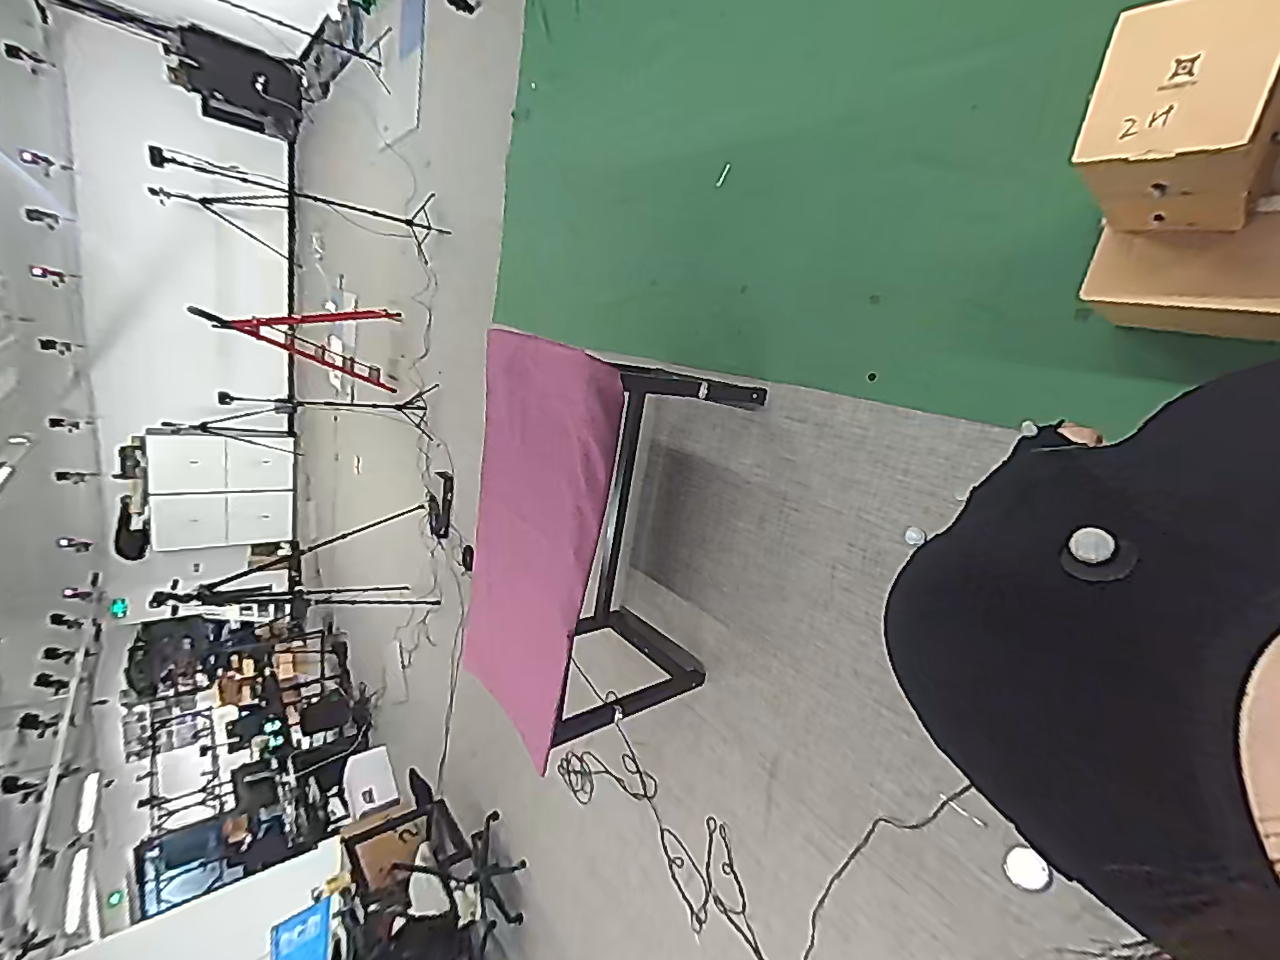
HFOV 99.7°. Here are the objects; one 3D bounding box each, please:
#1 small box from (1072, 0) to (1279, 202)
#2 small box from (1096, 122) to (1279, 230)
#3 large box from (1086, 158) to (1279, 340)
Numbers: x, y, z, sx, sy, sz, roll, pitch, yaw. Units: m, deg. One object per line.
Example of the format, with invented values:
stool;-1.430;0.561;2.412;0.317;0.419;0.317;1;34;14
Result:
small box;0.693;-0.475;0.685;0.168;0.176;0.179;26;111;46
small box;0.816;-0.484;0.794;0.168;0.176;0.179;27;112;45
large box;1.057;-0.410;0.889;0.408;0.320;0.320;26;112;45
